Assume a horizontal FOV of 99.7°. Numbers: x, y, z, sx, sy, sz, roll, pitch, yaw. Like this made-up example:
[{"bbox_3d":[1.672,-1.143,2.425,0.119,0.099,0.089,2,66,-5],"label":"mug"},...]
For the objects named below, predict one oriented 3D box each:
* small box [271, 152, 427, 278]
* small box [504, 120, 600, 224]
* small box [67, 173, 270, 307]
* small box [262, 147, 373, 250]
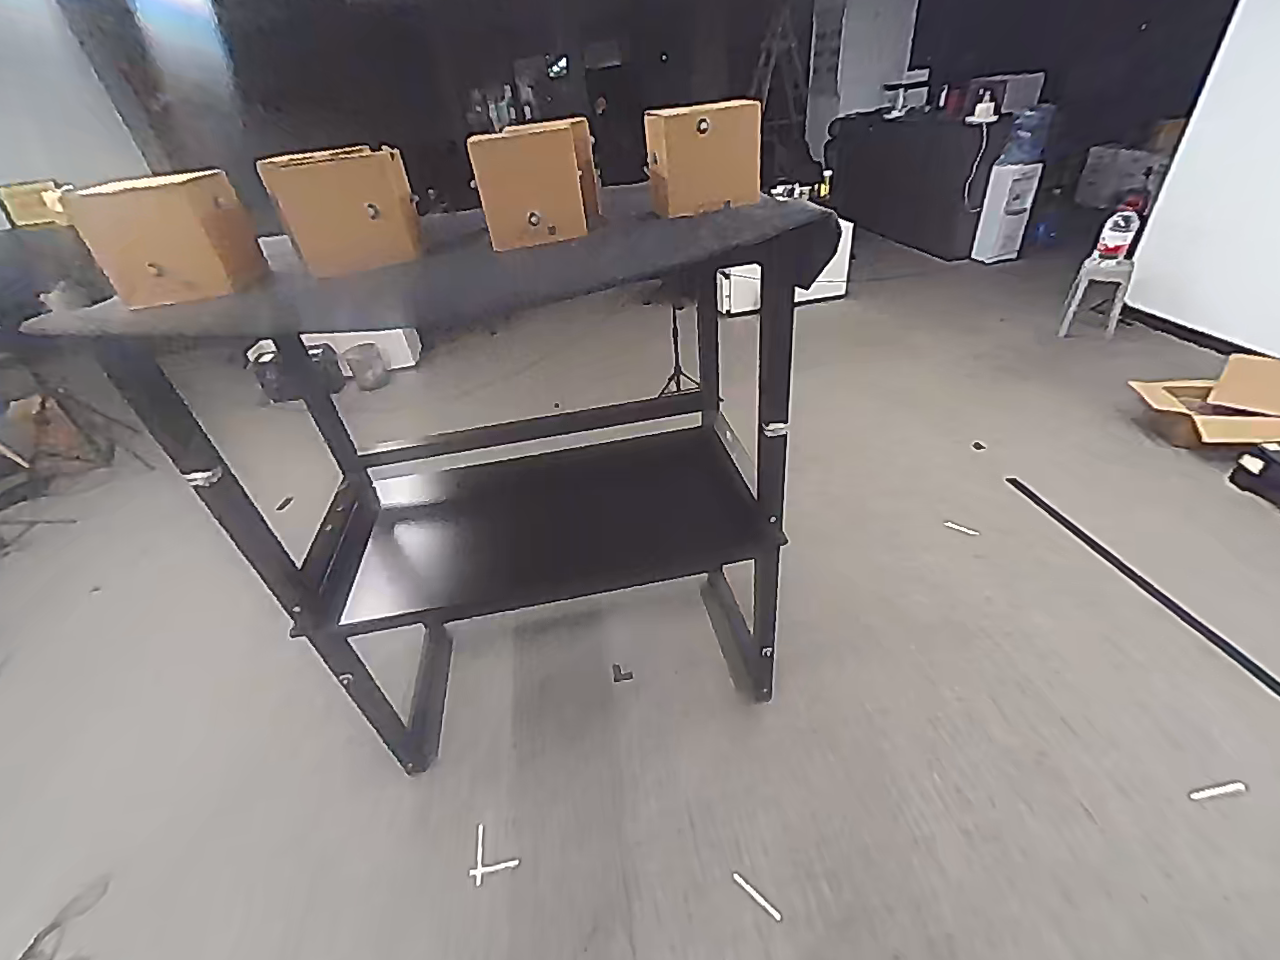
[{"bbox_3d":[-0.483,-0.459,0.934,0.179,0.176,0.168,-10,33,-8],"label":"small box"},{"bbox_3d":[-0.181,-0.651,1.143,0.168,0.176,0.179,-10,35,-3],"label":"small box"},{"bbox_3d":[-0.758,-0.401,0.900,0.168,0.176,0.179,-12,36,-7],"label":"small box"},{"bbox_3d":[-0.619,-0.569,1.109,0.168,0.176,0.179,-10,35,-4],"label":"small box"}]
